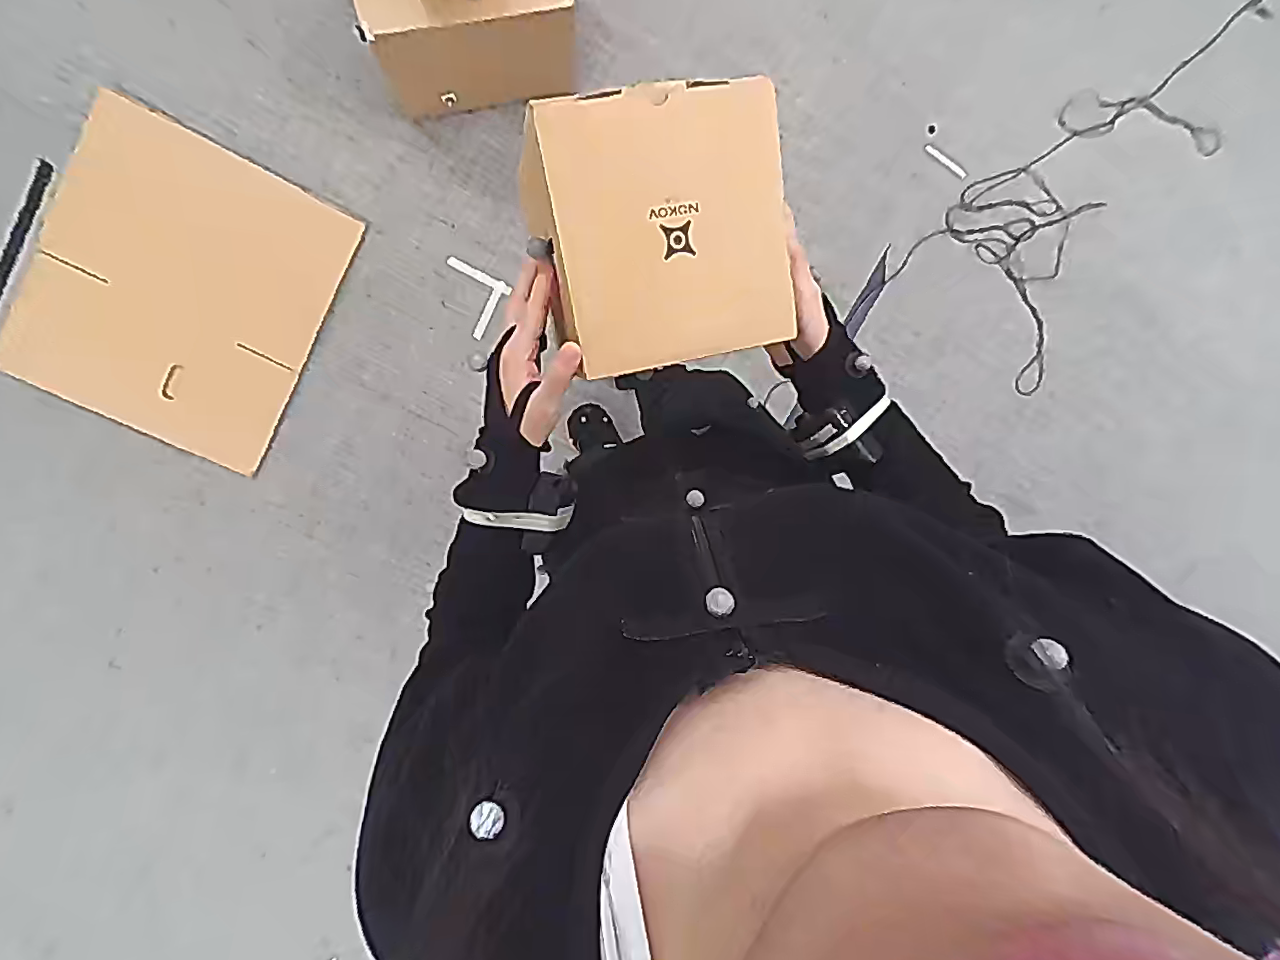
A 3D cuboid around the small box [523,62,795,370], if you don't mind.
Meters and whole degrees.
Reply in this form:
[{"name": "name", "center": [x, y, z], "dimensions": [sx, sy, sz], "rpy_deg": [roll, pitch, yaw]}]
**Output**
[{"name": "small box", "center": [0.005, -0.194, 0.440], "dimensions": [0.168, 0.176, 0.179], "rpy_deg": [-14, 106, -11]}]
